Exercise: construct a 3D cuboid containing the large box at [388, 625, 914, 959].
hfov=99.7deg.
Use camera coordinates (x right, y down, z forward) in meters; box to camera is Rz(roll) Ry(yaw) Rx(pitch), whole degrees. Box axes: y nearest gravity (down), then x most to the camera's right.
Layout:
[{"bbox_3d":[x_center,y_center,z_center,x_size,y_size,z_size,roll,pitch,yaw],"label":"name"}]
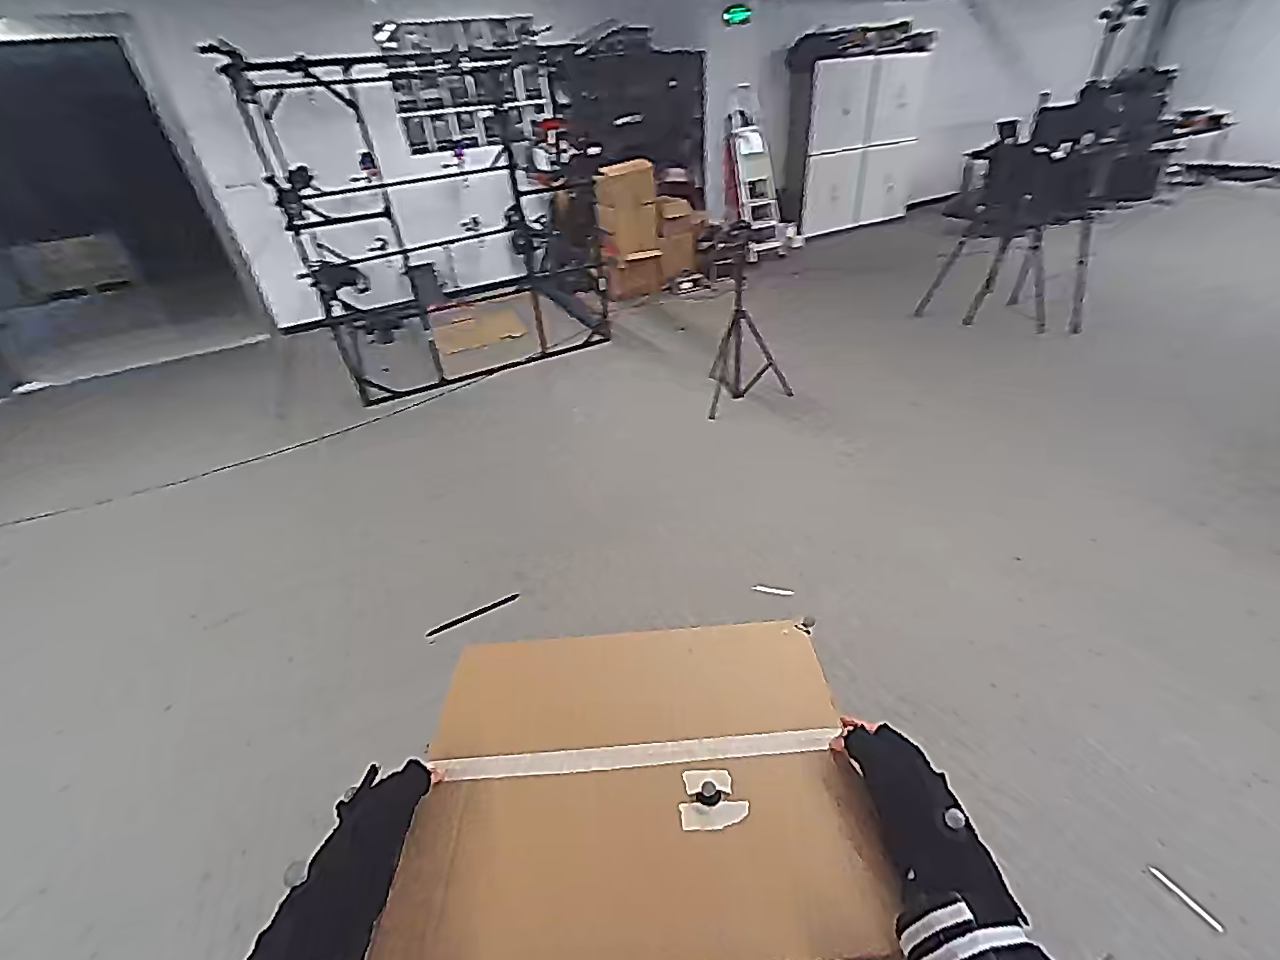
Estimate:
[{"bbox_3d":[0.014,0.396,0.601,0.408,0.320,0.320,-4,32,2],"label":"large box"}]
